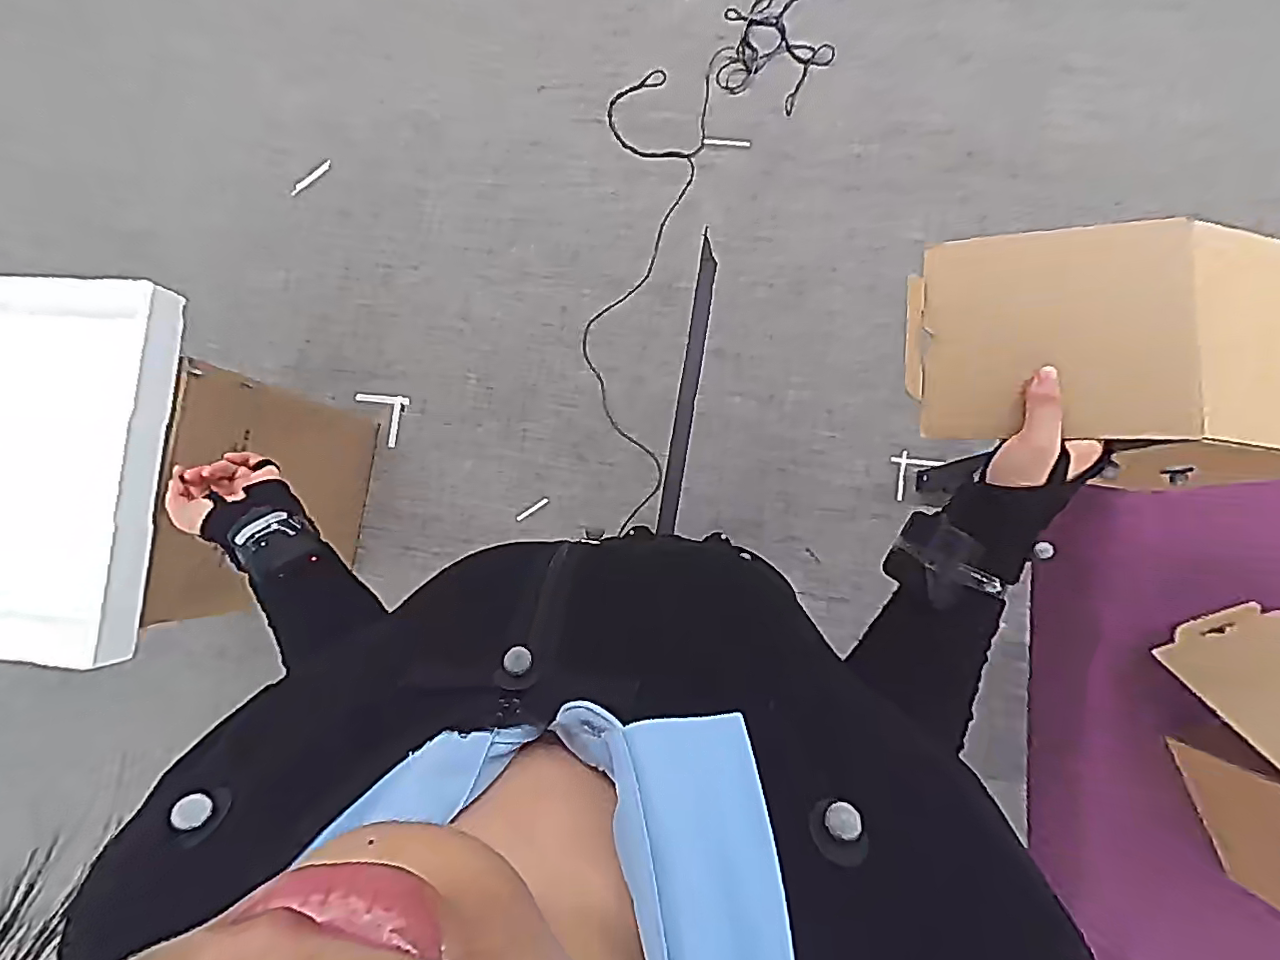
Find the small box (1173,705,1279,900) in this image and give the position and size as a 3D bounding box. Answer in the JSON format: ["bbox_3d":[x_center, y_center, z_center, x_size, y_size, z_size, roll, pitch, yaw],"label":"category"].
[{"bbox_3d":[0.747,0.360,0.578,0.168,0.176,0.179,-20,83,4],"label":"small box"}]
